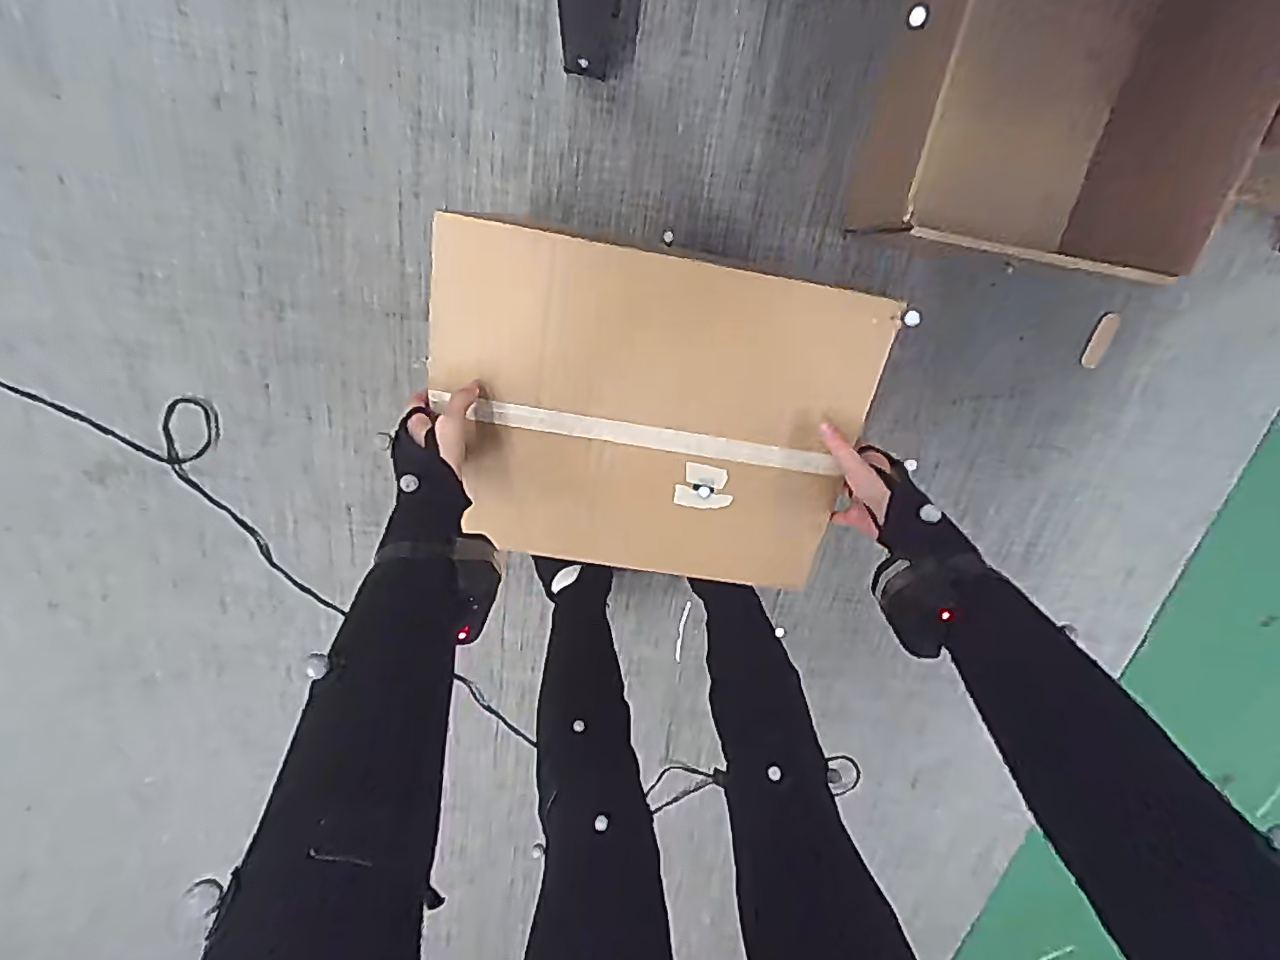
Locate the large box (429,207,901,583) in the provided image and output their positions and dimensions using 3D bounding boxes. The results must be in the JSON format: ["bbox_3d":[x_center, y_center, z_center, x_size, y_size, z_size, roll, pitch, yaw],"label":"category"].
[{"bbox_3d":[0.000,-0.114,0.641,0.408,0.320,0.320,9,115,-6],"label":"large box"}]
